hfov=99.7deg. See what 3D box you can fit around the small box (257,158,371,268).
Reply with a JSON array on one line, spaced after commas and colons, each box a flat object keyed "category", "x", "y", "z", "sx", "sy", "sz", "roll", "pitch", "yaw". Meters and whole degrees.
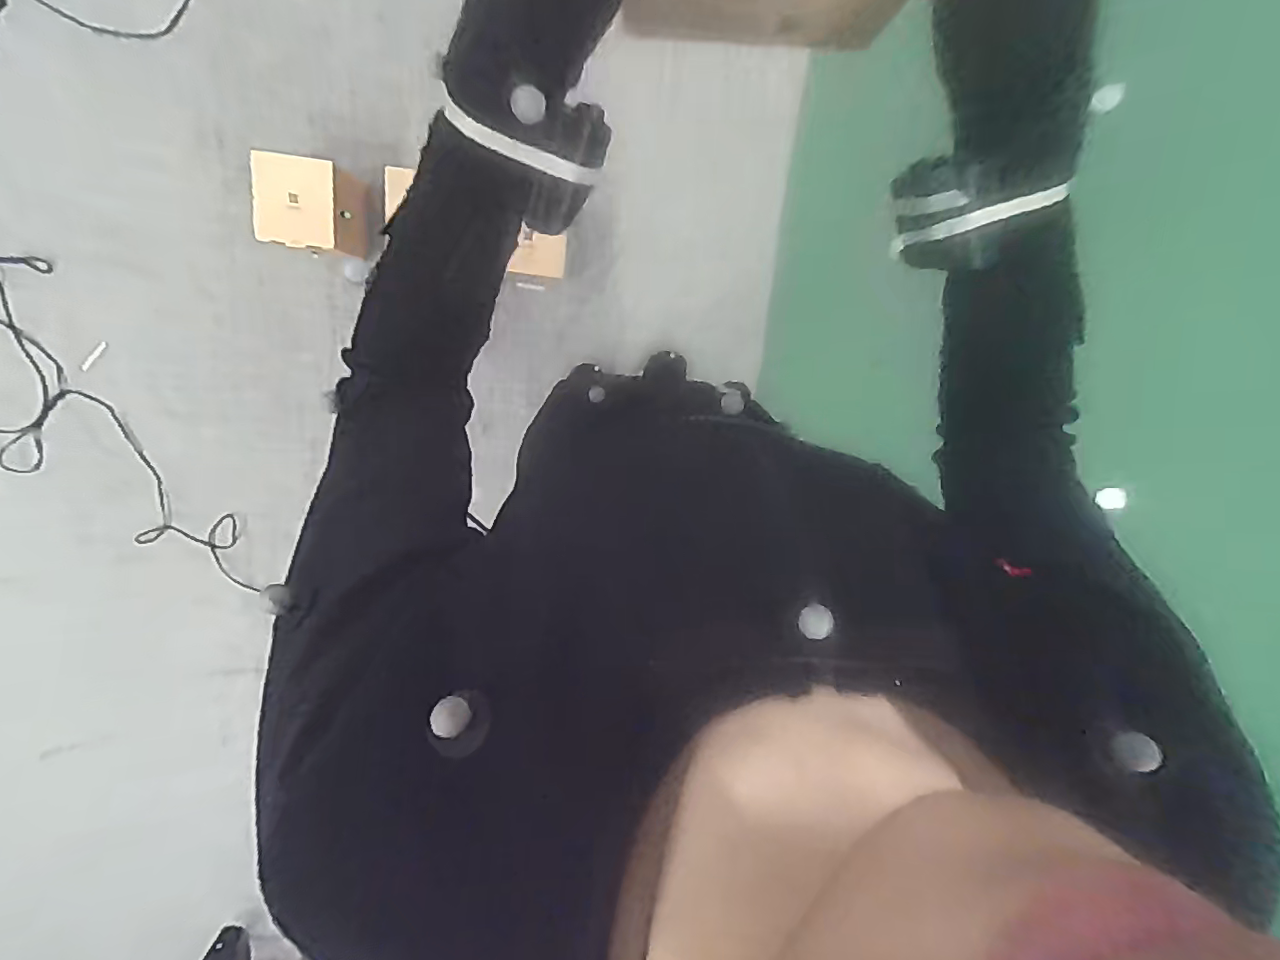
[{"category": "small box", "x": -0.729, "y": -0.595, "z": 1.223, "sx": 0.168, "sy": 0.176, "sz": 0.179, "roll": 6, "pitch": 103, "yaw": -4}]
